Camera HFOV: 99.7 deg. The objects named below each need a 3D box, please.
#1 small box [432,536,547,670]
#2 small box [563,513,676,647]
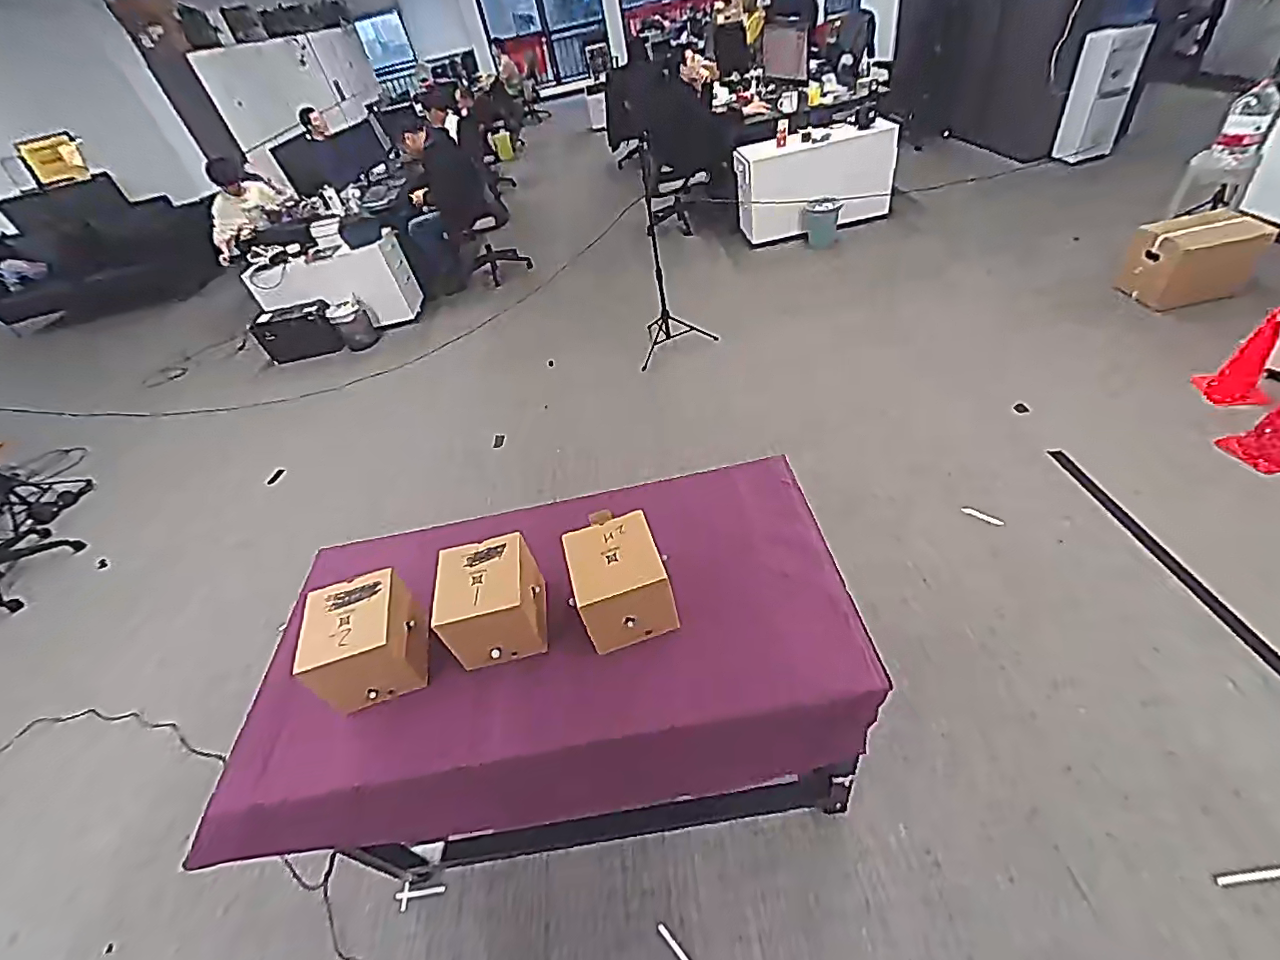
[{"bbox_3d":[-0.287,0.242,1.067,0.168,0.176,0.179,-14,43,0],"label":"small box"},{"bbox_3d":[-0.038,0.199,1.045,0.168,0.176,0.179,-18,42,-4],"label":"small box"}]
